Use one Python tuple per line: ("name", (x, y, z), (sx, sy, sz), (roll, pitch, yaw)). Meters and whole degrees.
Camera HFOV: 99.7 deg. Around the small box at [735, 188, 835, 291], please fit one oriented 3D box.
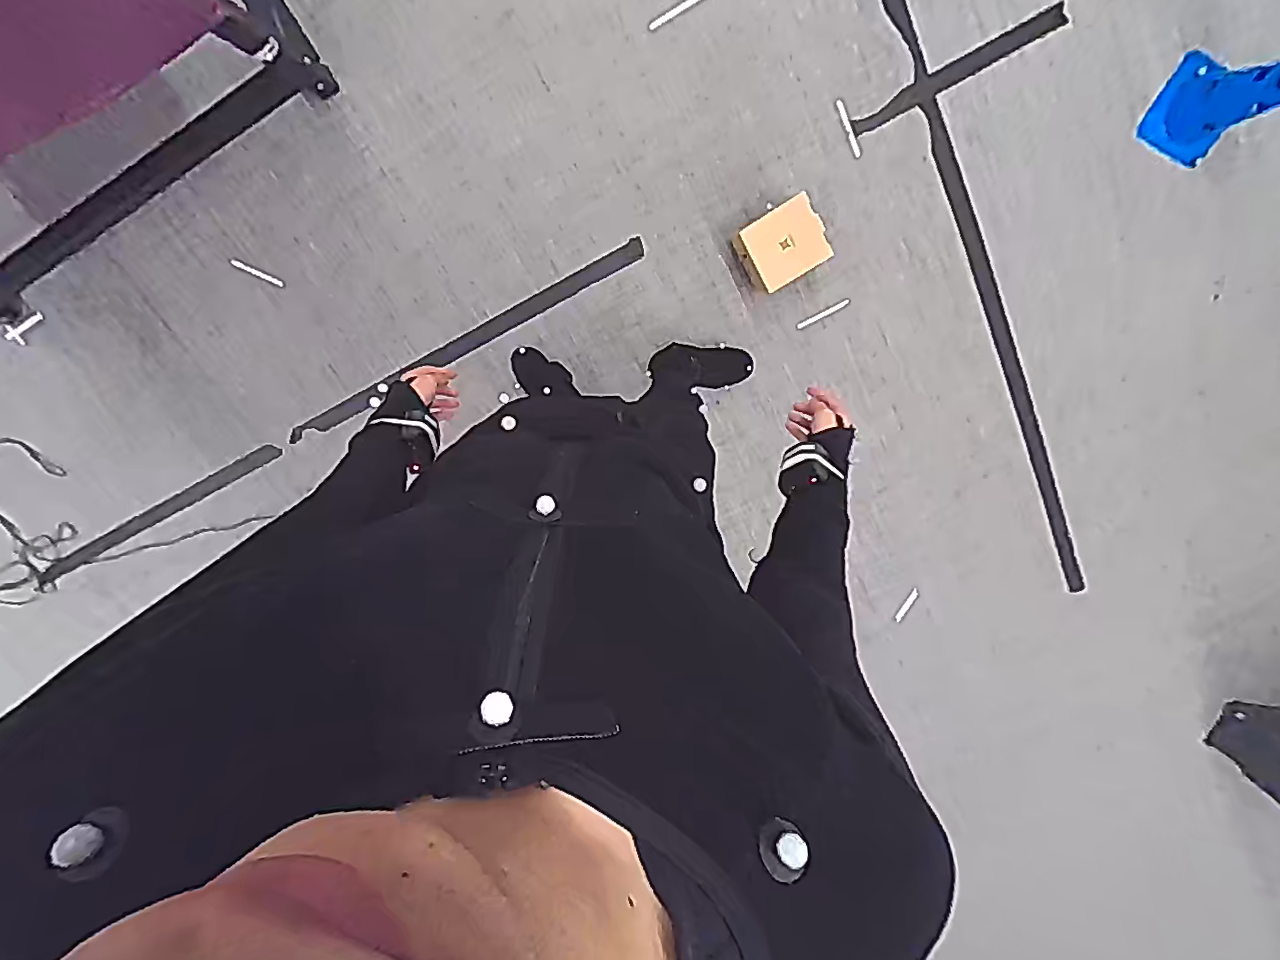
("small box", (0.353, -0.593, 1.357), (0.179, 0.176, 0.168), (-30, 107, 10))
